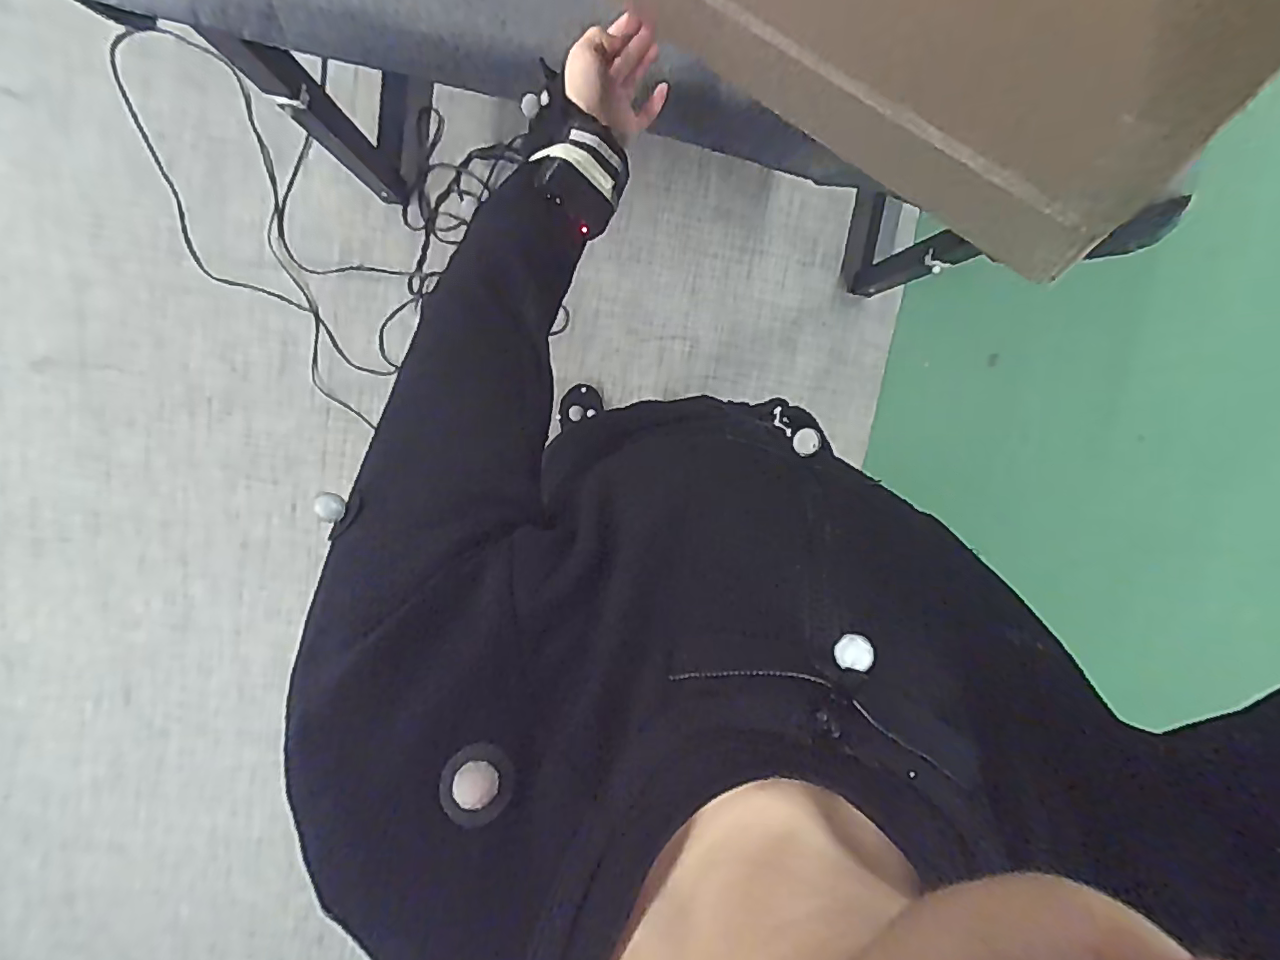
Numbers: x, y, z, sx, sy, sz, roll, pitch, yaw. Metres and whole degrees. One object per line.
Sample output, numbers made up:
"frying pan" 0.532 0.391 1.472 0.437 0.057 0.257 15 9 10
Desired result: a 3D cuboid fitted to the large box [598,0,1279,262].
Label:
"large box" 0.139 -0.353 0.222 0.408 0.320 0.320 42 115 15
